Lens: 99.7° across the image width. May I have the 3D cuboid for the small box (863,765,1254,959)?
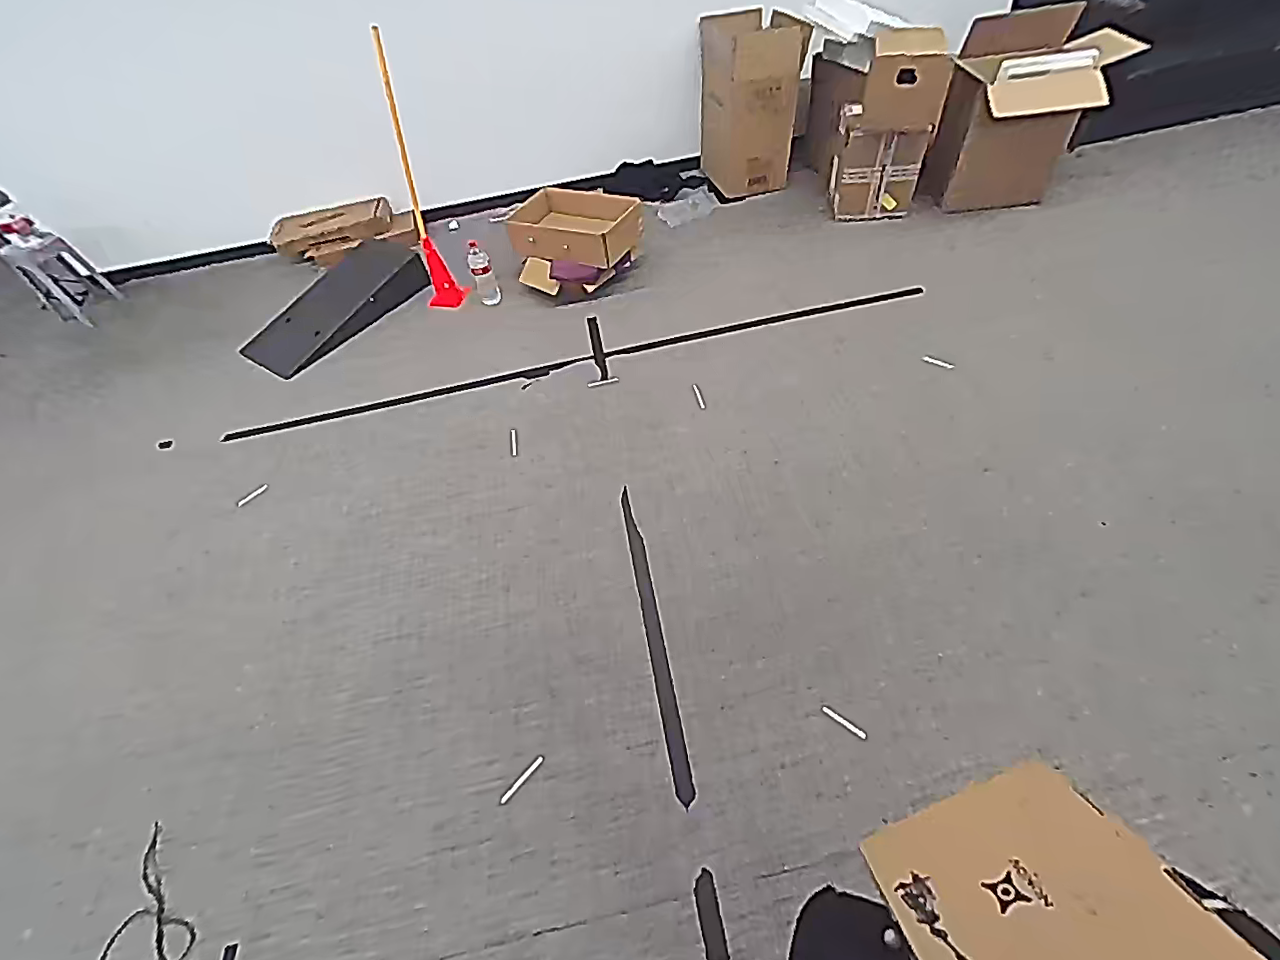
[{"bbox_3d":[0.309,0.369,0.410,0.179,0.176,0.168,-26,11,2],"label":"small box"}]
